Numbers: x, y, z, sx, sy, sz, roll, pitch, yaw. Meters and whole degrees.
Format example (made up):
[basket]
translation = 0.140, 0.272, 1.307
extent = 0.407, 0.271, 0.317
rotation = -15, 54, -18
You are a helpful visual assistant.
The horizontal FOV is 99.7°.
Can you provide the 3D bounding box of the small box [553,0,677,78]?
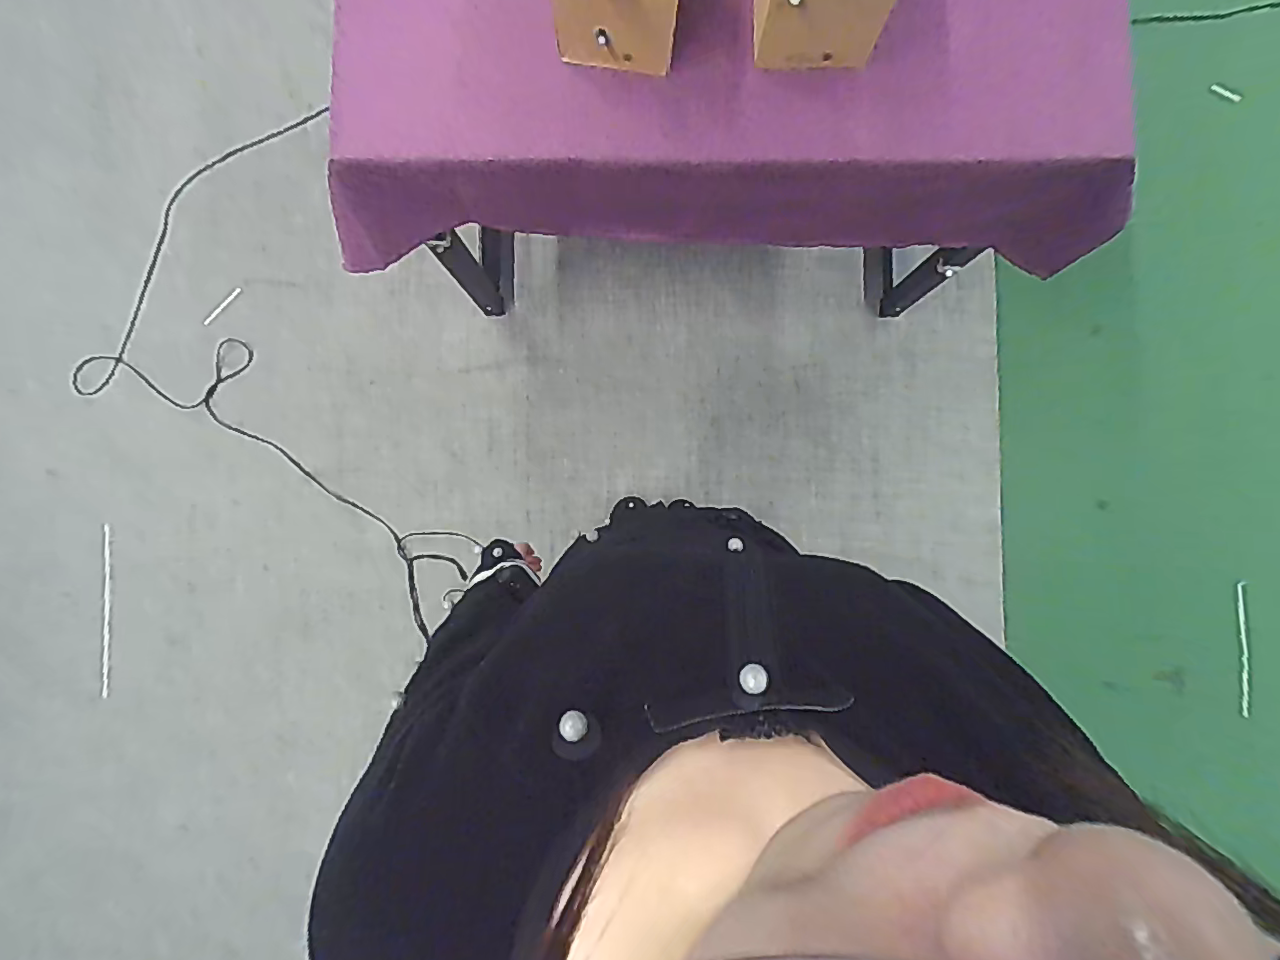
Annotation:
[small box]
translation = -0.030, -0.719, 0.756
extent = 0.168, 0.176, 0.179
rotation = 8, 88, 1
